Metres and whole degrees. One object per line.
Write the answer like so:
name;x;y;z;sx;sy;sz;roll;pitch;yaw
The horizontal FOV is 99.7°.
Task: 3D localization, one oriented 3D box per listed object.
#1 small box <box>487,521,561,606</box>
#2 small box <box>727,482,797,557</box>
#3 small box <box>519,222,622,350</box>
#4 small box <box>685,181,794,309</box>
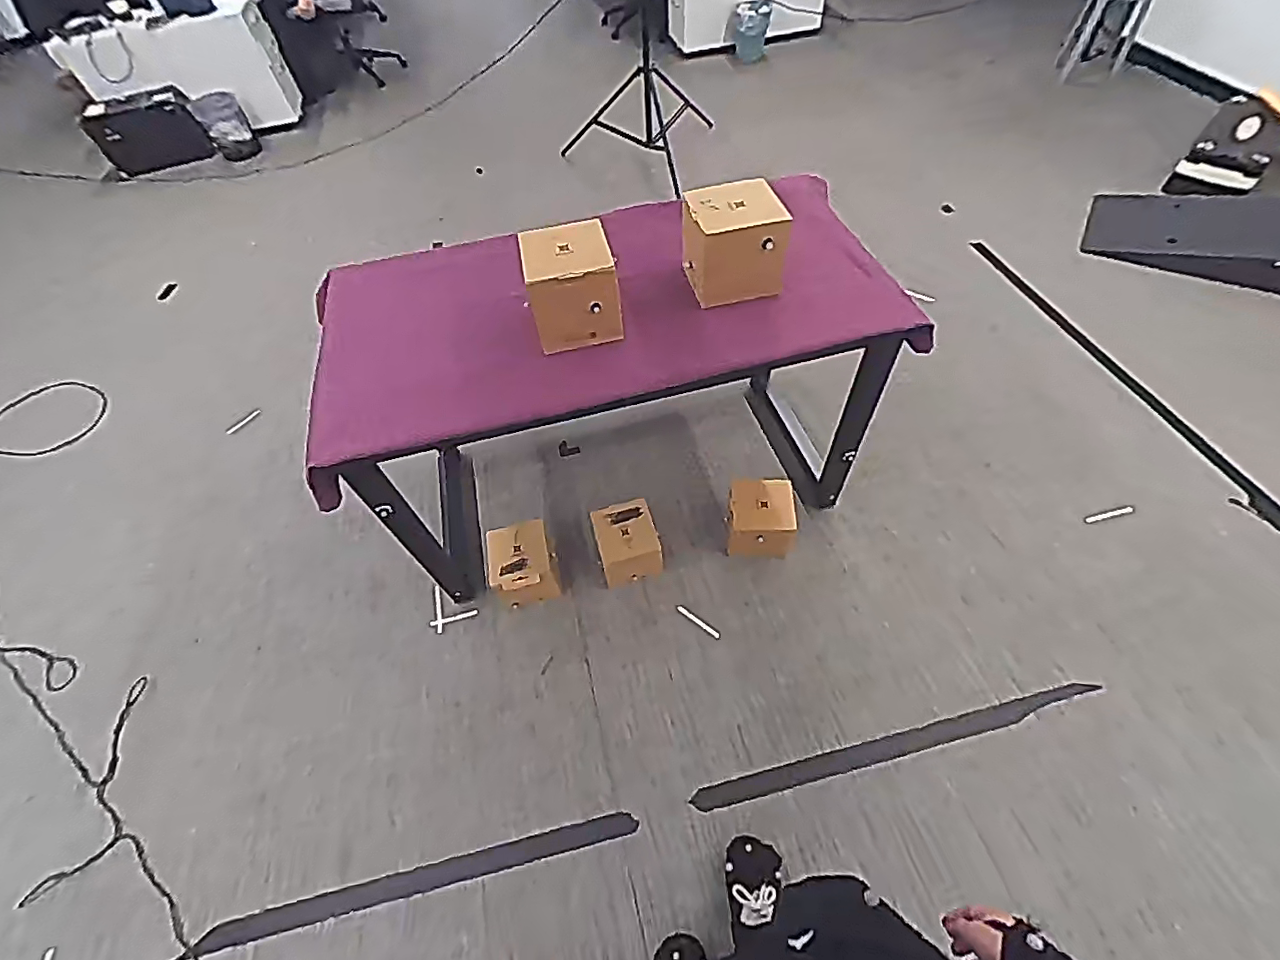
small box;-0.329;0.246;1.547;0.168;0.176;0.179;-13;54;-5
small box;0.350;0.118;1.584;0.179;0.176;0.168;-1;56;6
small box;-0.135;-0.378;1.076;0.168;0.176;0.179;-12;53;-5
small box;0.195;-0.483;1.121;0.179;0.176;0.168;-13;55;-4
